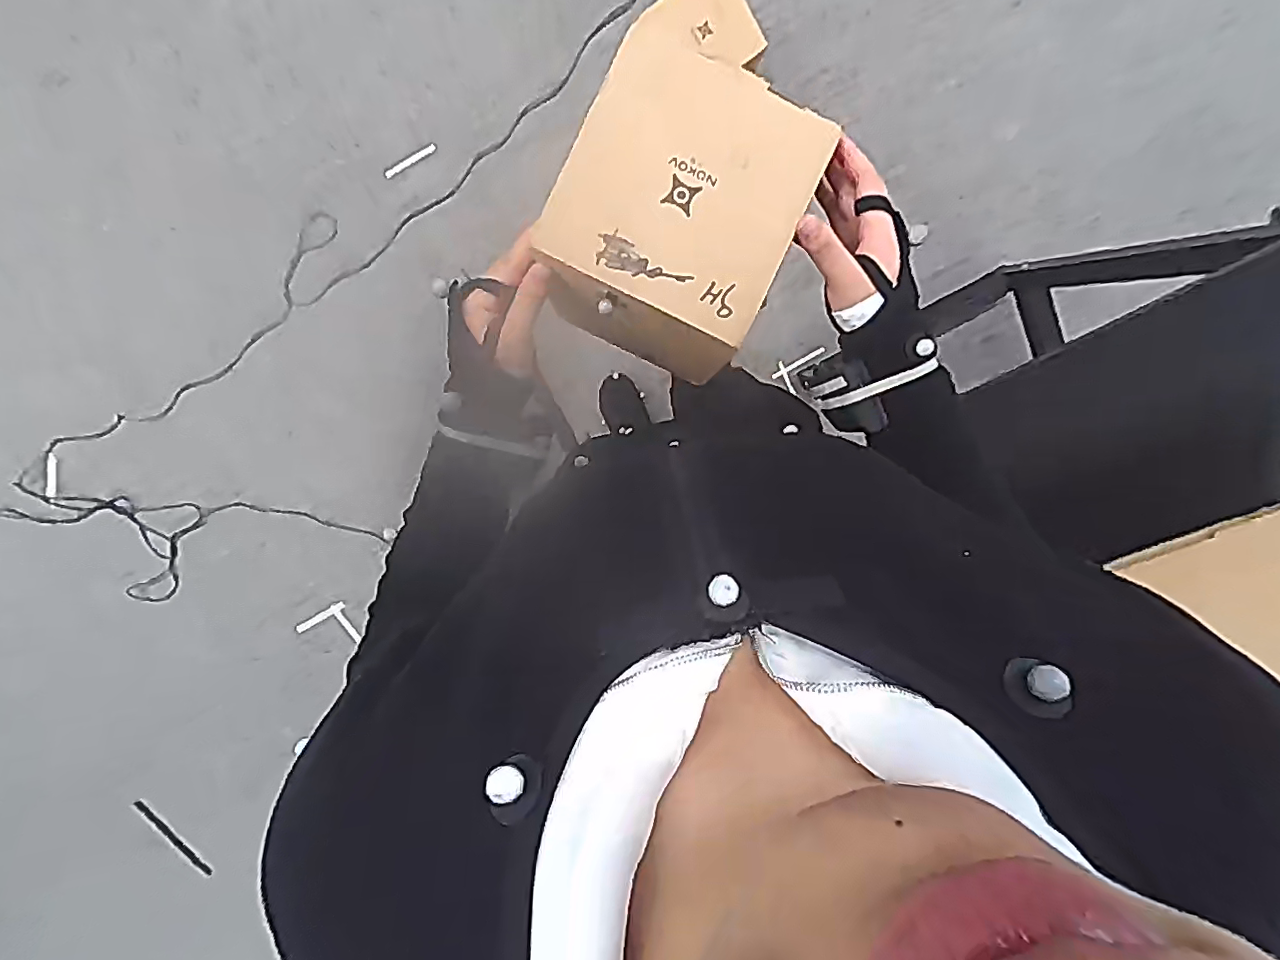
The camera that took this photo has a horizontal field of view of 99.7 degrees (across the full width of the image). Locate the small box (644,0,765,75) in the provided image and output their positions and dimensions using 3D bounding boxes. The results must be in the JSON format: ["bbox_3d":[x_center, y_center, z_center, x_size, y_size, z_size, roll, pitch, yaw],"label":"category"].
[{"bbox_3d":[0.110,-0.807,1.039,0.179,0.176,0.168,-34,104,6],"label":"small box"}]

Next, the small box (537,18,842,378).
[{"bbox_3d":[0.031,-0.210,0.457,0.168,0.176,0.179,26,88,-2],"label":"small box"}]
